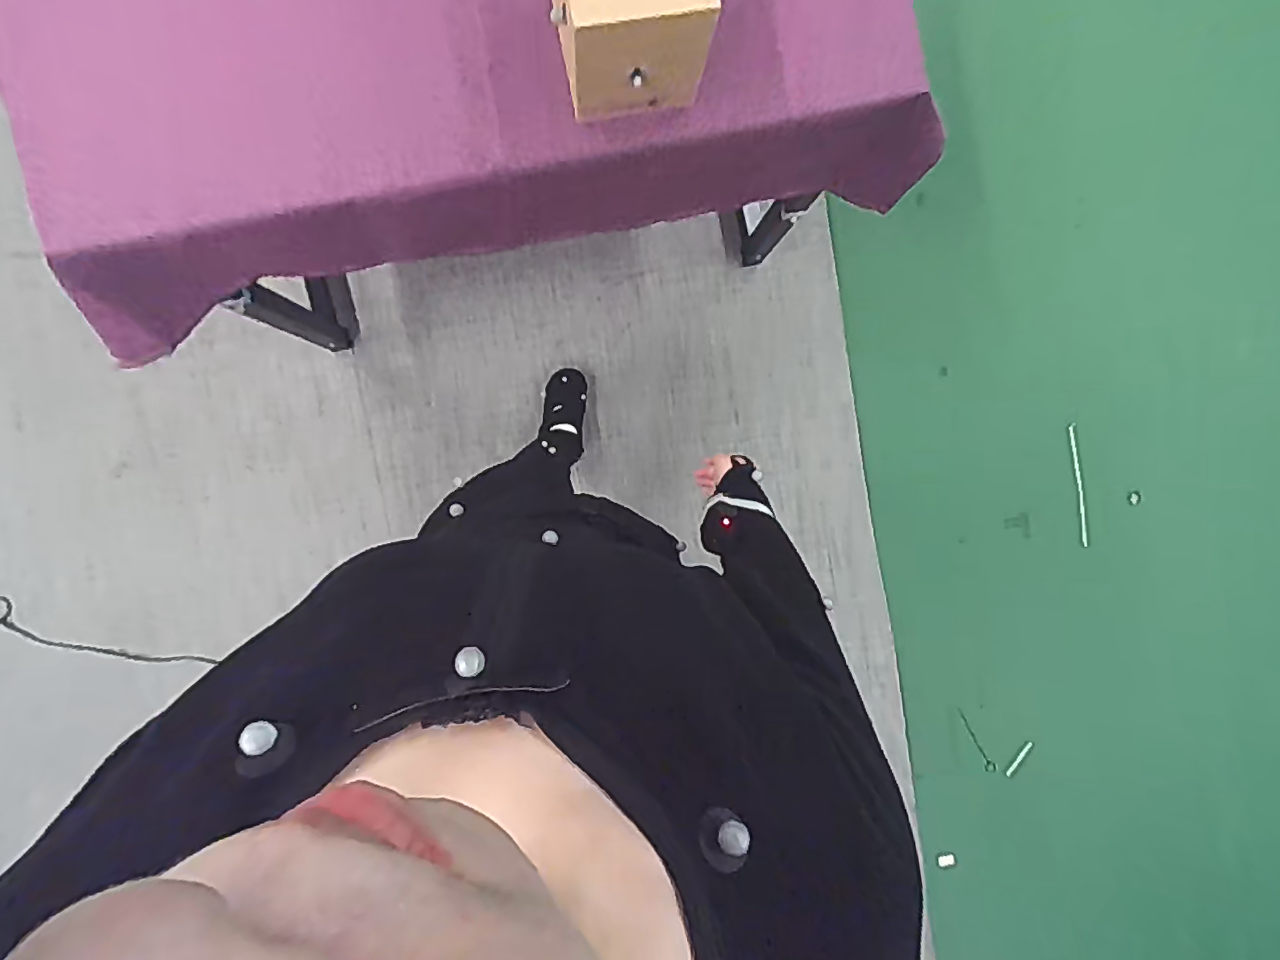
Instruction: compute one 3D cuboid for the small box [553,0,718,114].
[{"bbox_3d":[-0.015,-0.581,0.657,0.168,0.176,0.179,-12,93,-5],"label":"small box"}]
